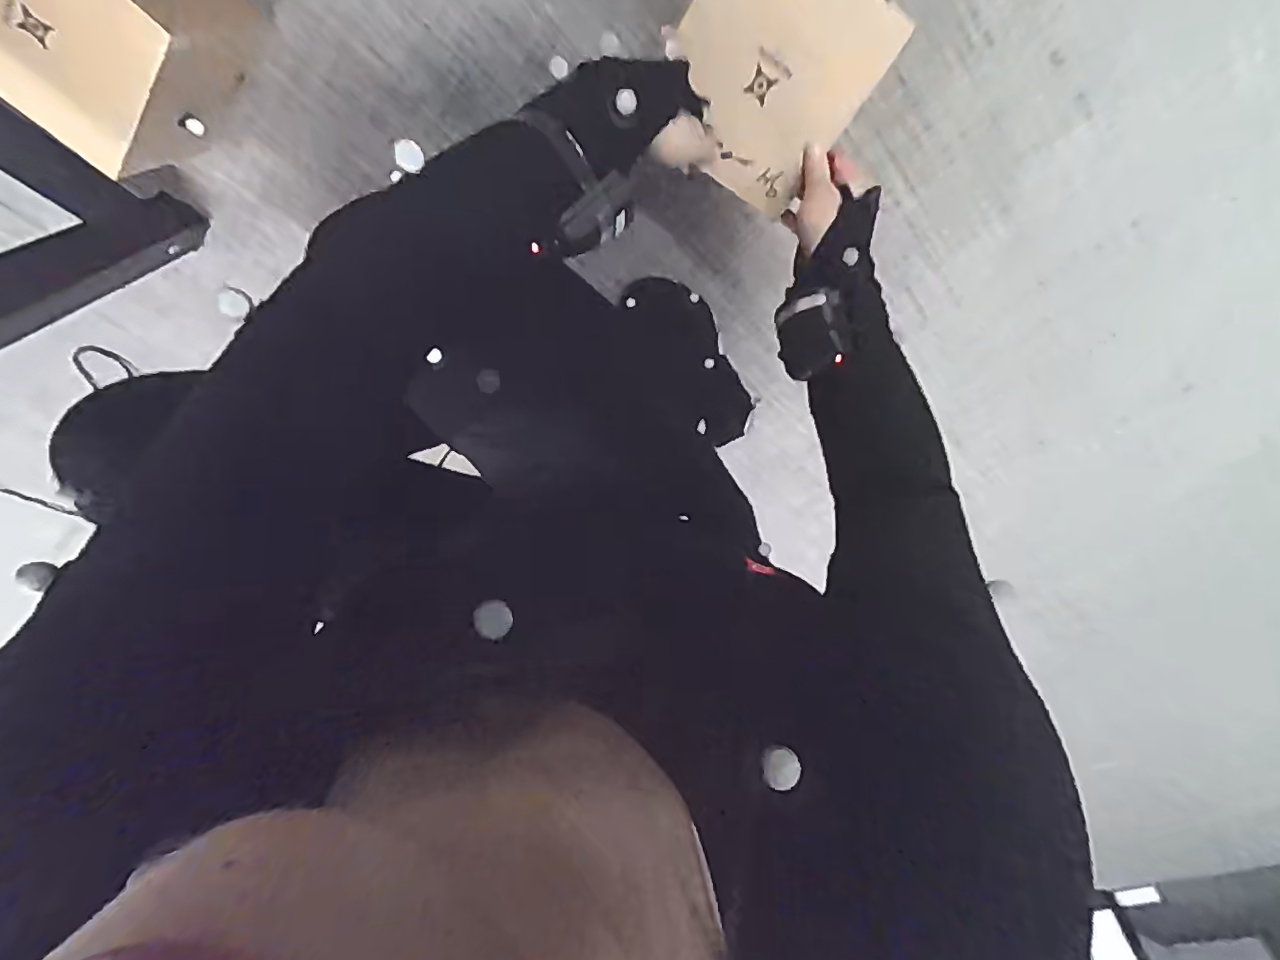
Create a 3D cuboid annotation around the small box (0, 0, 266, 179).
[{"bbox_3d":[-0.499,-0.428,0.501,0.168,0.176,0.179,-33,122,27],"label":"small box"}]
